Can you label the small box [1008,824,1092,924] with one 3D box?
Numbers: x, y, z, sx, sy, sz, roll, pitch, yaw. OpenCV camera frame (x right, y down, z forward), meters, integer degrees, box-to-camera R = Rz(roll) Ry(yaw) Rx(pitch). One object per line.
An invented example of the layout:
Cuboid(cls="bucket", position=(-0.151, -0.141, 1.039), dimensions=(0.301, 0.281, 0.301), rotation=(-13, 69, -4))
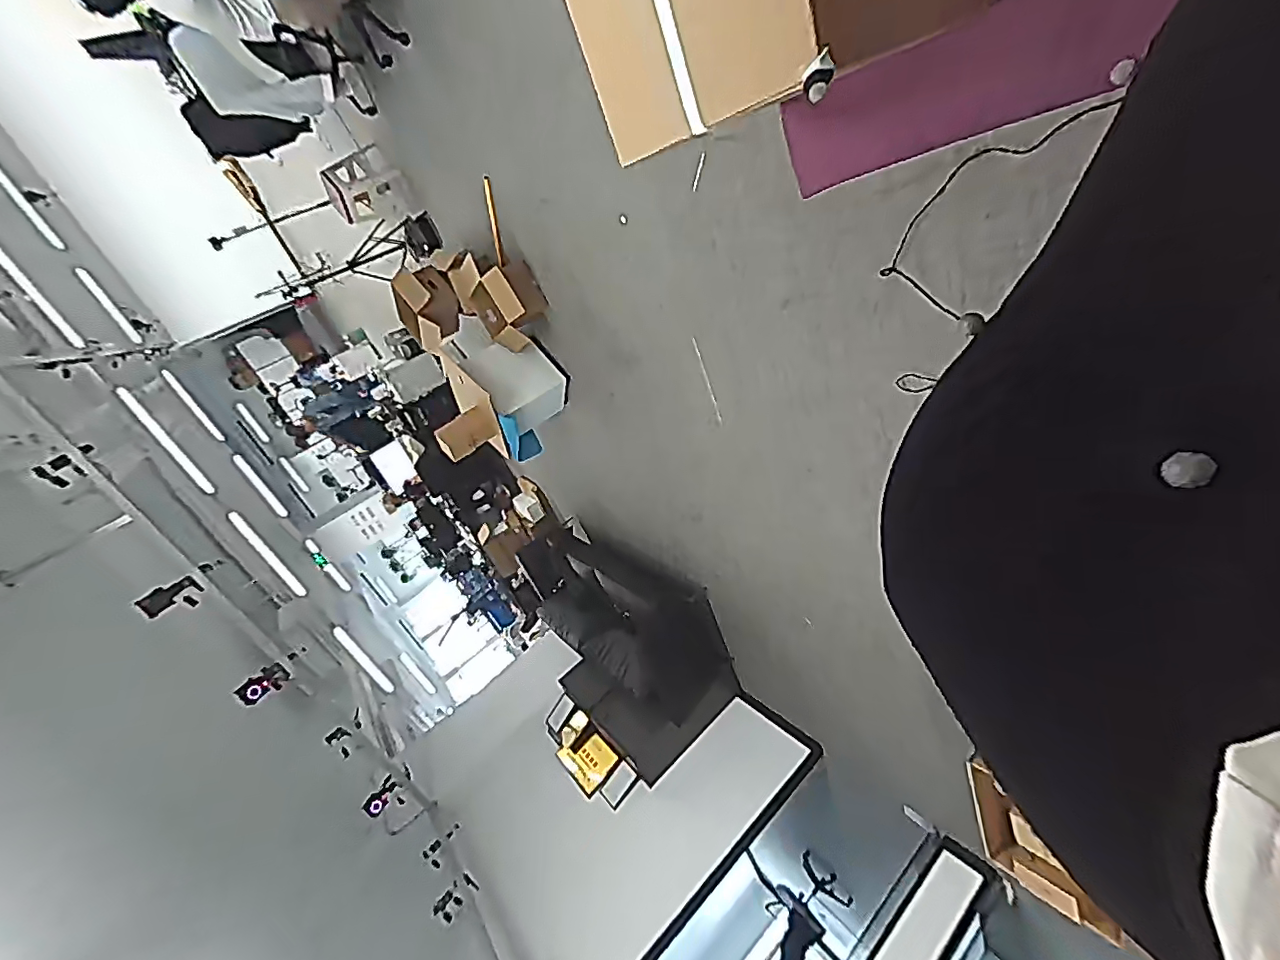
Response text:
Cuboid(cls="small box", position=(1.361, 1.291, 1.787), dimensions=(0.179, 0.176, 0.168), rotation=(13, 135, 57))
